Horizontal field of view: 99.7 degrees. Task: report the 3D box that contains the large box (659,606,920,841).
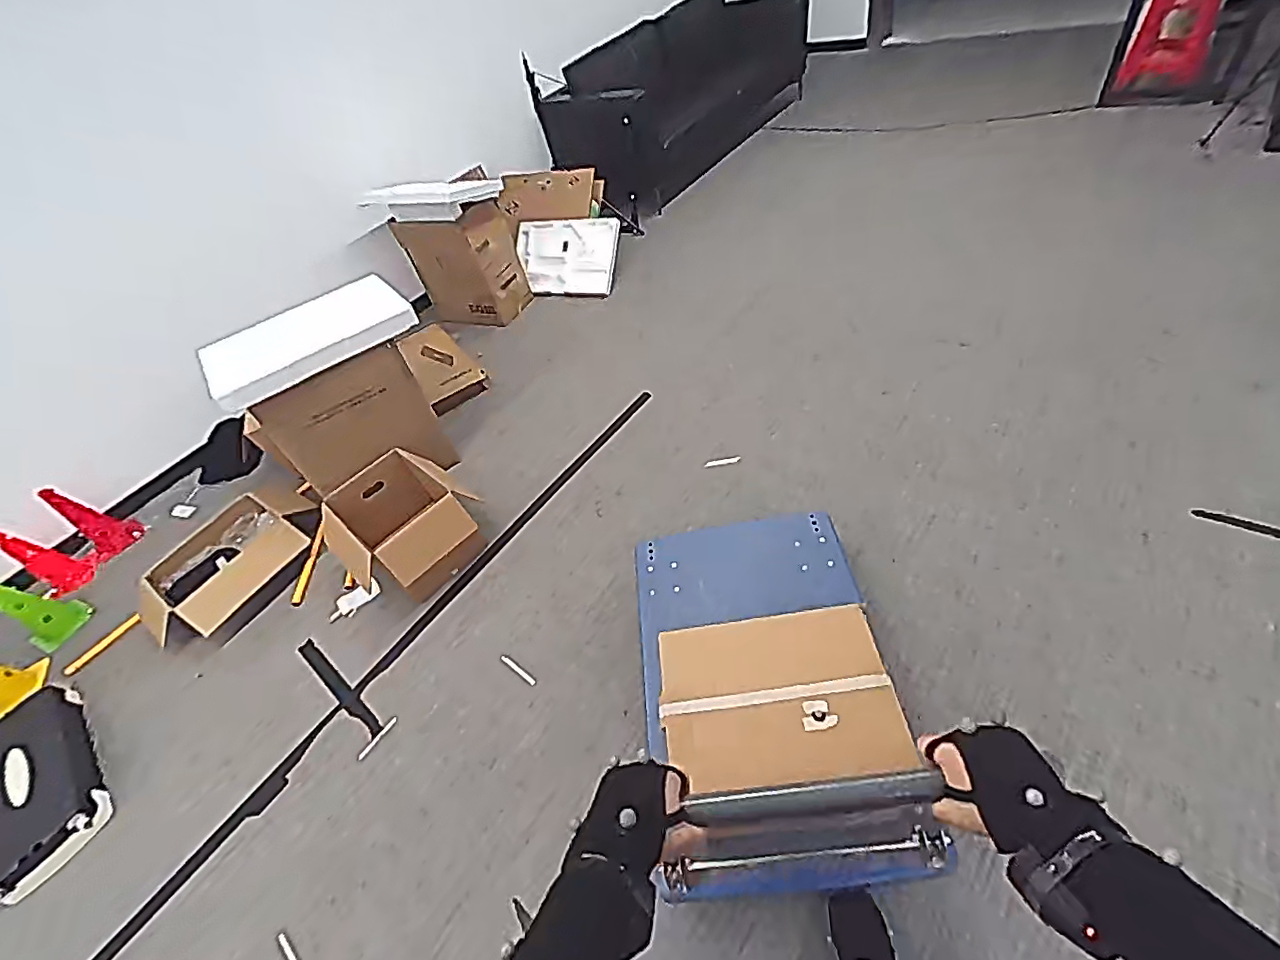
[{"bbox_3d":[0.269,0.494,1.082,0.408,0.320,0.320,-10,47,6],"label":"large box"}]
